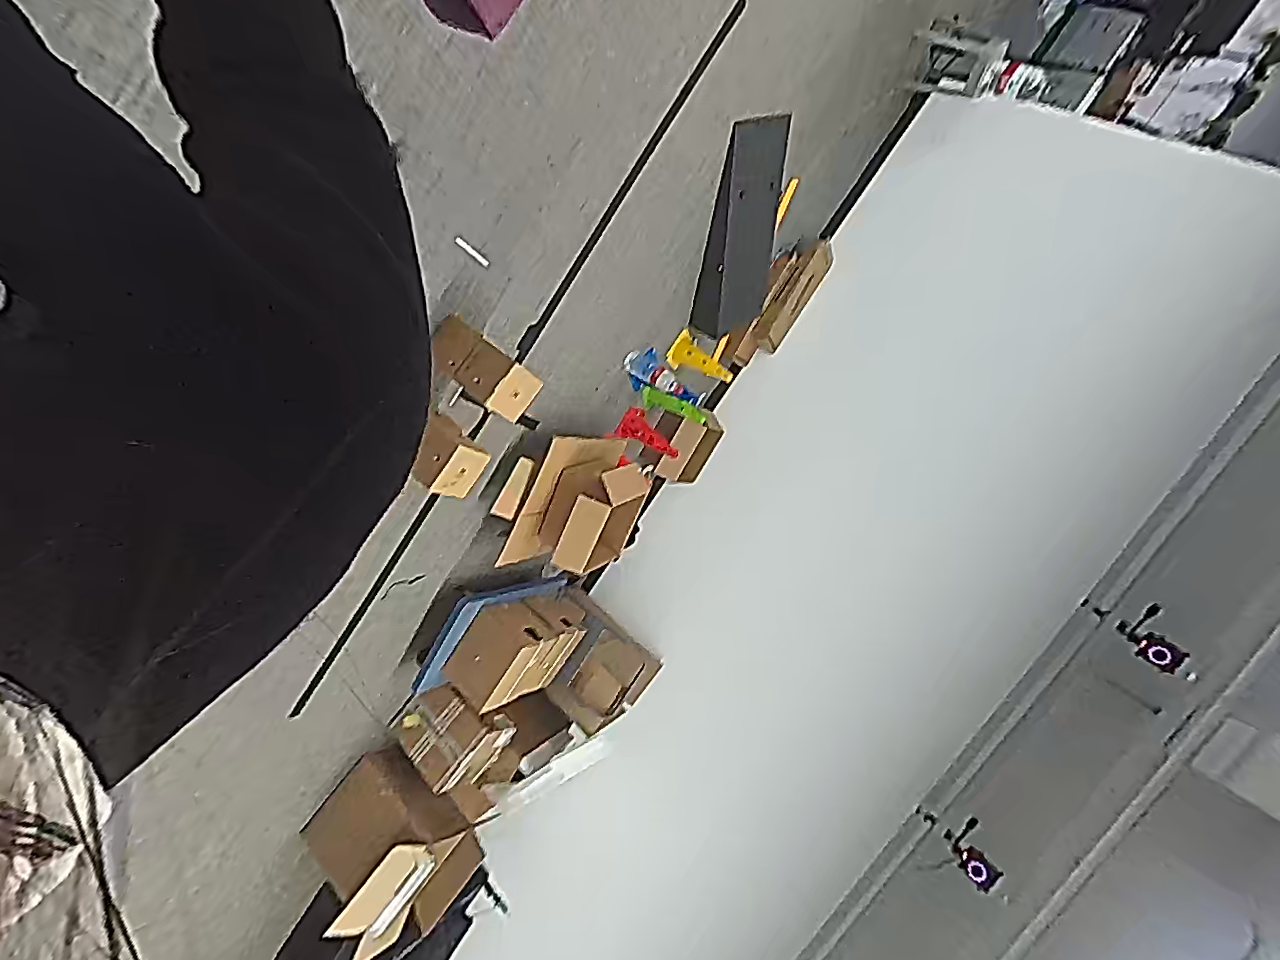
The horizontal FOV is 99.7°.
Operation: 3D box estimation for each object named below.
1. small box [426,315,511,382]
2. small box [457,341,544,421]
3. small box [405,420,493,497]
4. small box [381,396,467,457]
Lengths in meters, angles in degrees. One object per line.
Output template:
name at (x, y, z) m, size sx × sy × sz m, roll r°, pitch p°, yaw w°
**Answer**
small box at (-0.571, -0.415, 1.792) m, size 0.179 × 0.176 × 0.168 m, roll -53°, pitch 158°, yaw 0°
small box at (-0.450, -0.321, 1.738) m, size 0.168 × 0.176 × 0.179 m, roll -52°, pitch 159°, yaw 2°
small box at (-0.623, -0.071, 1.754) m, size 0.179 × 0.176 × 0.168 m, roll -54°, pitch 157°, yaw 4°
small box at (-0.736, -0.163, 1.833) m, size 0.168 × 0.176 × 0.179 m, roll -55°, pitch 158°, yaw 6°
